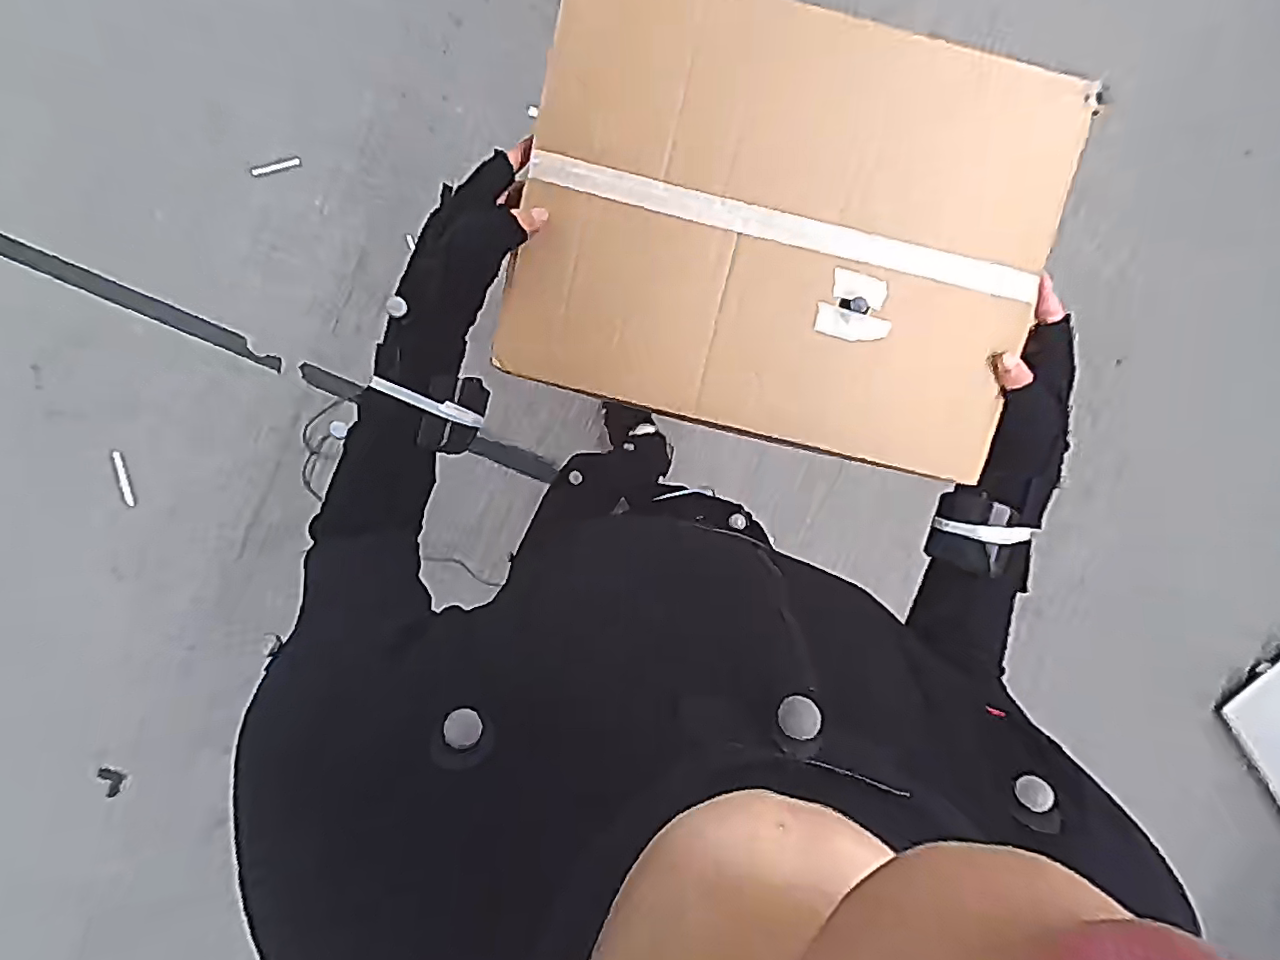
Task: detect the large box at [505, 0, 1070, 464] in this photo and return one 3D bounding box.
[{"bbox_3d":[0.110,-0.220,0.581,0.408,0.320,0.320,14,97,-3],"label":"large box"}]
